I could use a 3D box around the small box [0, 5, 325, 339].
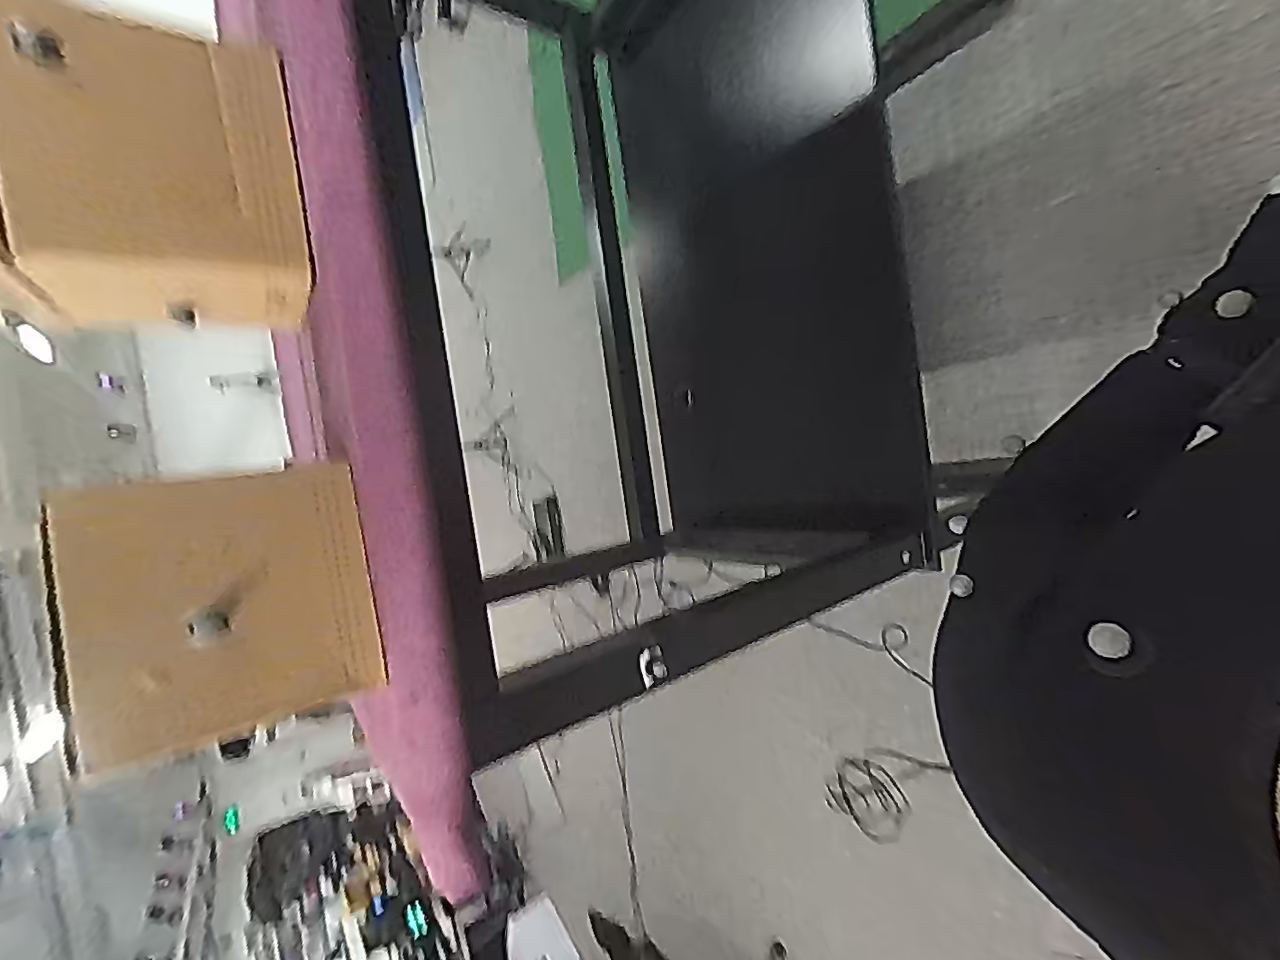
[{"bbox_3d":[-0.368,-0.221,0.442,0.168,0.176,0.179,-4,95,55],"label":"small box"}]

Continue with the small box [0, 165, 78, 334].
[{"bbox_3d":[-0.505,-0.198,0.353,0.168,0.176,0.179,-4,94,55],"label":"small box"}]

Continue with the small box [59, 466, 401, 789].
[{"bbox_3d":[-0.302,0.099,0.427,0.168,0.176,0.179,-22,81,53],"label":"small box"}]
